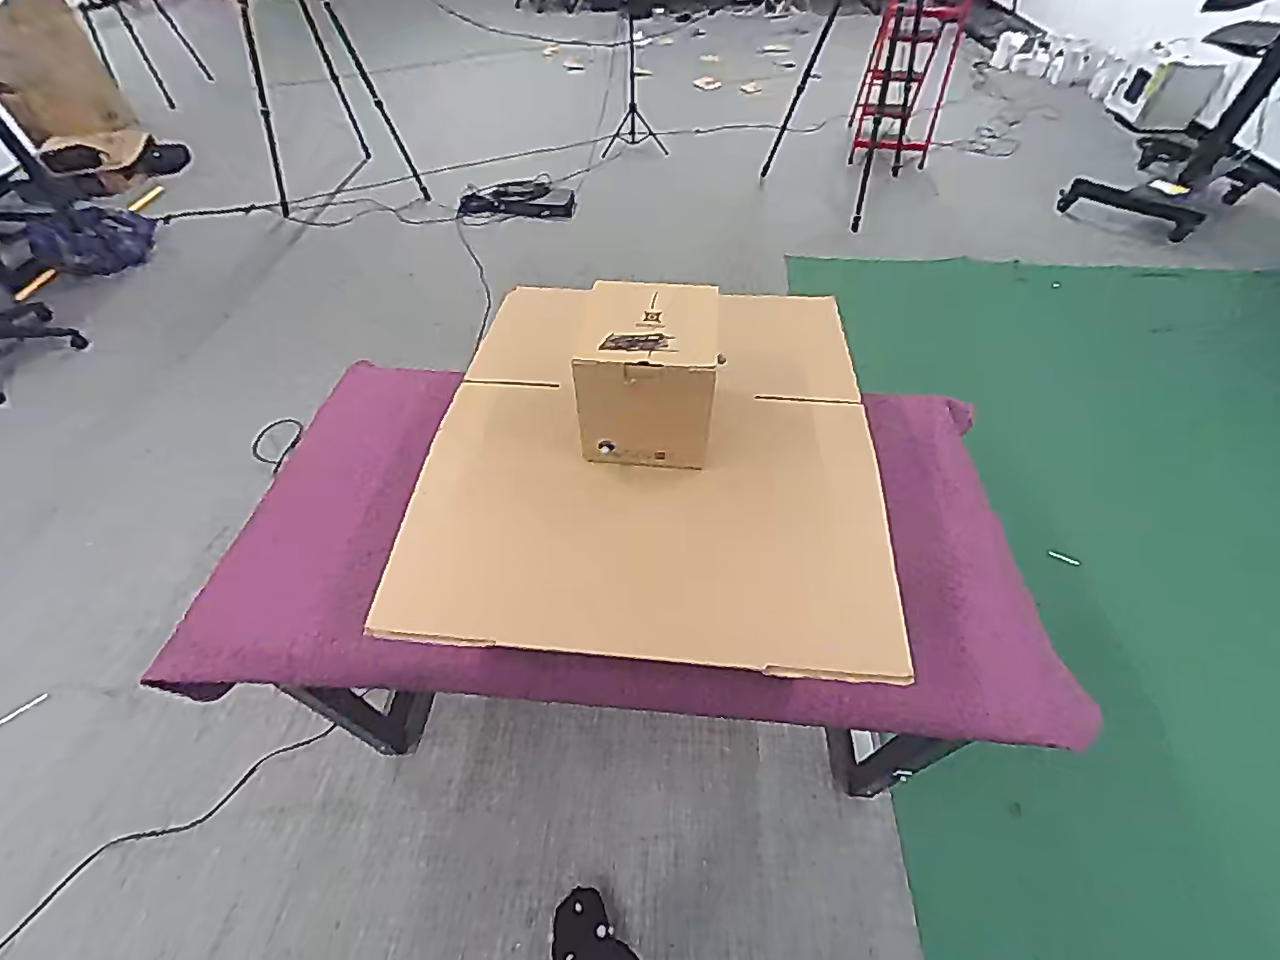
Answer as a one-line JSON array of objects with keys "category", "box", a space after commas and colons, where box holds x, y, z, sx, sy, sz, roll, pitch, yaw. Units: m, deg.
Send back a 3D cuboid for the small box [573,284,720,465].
[{"category": "small box", "box": [0.016, -0.137, 0.718, 0.168, 0.176, 0.179, 4, 49, 4]}]
